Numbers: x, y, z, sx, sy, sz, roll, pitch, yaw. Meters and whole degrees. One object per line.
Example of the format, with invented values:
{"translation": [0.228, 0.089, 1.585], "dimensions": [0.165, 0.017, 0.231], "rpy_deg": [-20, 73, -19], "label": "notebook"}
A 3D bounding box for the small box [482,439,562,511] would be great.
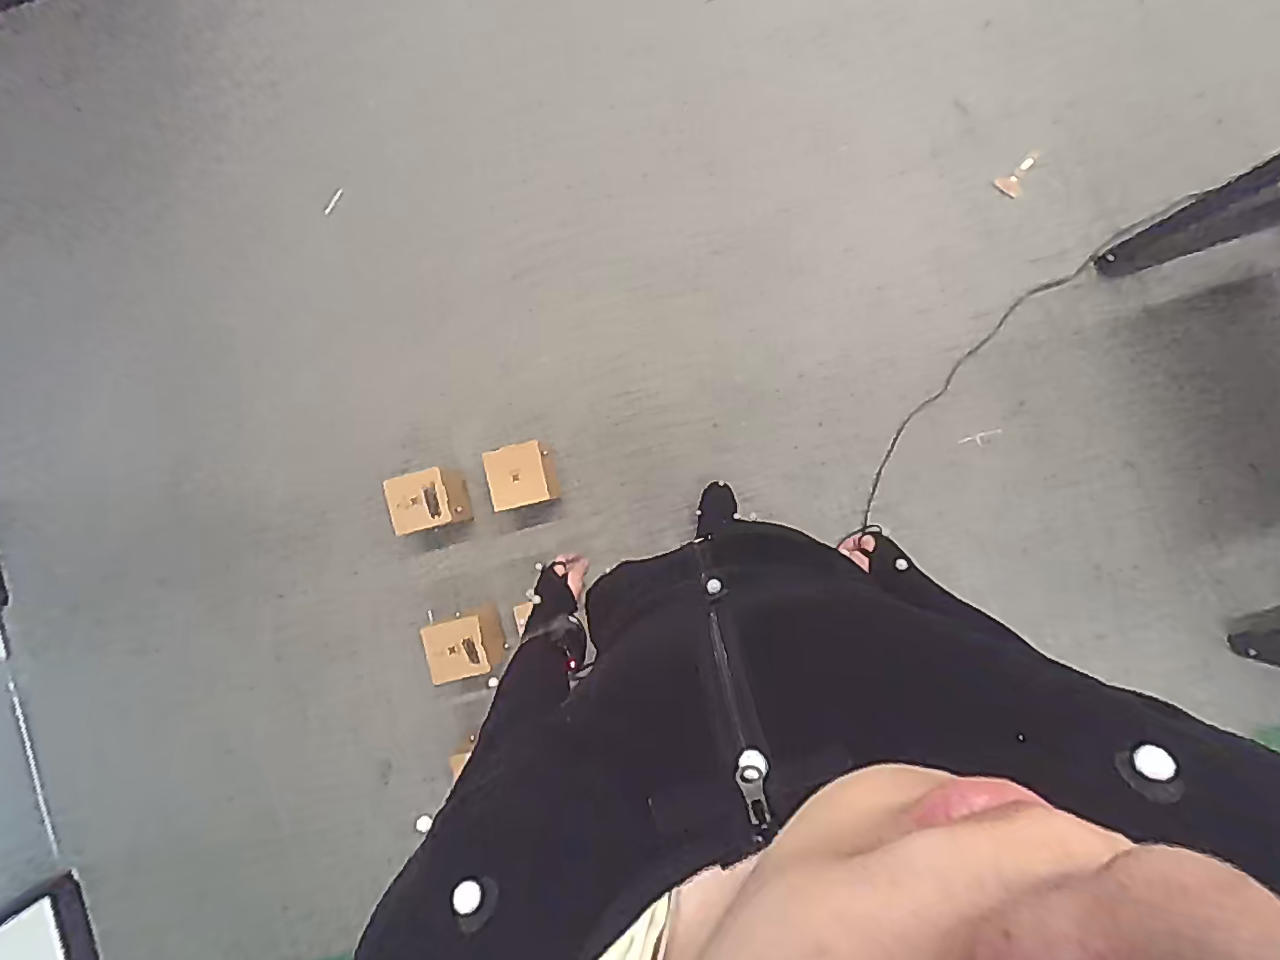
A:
{"translation": [-0.339, -0.013, 1.589], "dimensions": [0.168, 0.176, 0.179], "rpy_deg": [-14, 87, 5], "label": "small box"}

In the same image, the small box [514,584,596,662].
{"translation": [-0.243, 0.410, 1.572], "dimensions": [0.179, 0.176, 0.168], "rpy_deg": [-14, 88, 5], "label": "small box"}

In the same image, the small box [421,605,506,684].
{"translation": [-0.511, 0.478, 1.597], "dimensions": [0.179, 0.176, 0.168], "rpy_deg": [-14, 88, 6], "label": "small box"}
